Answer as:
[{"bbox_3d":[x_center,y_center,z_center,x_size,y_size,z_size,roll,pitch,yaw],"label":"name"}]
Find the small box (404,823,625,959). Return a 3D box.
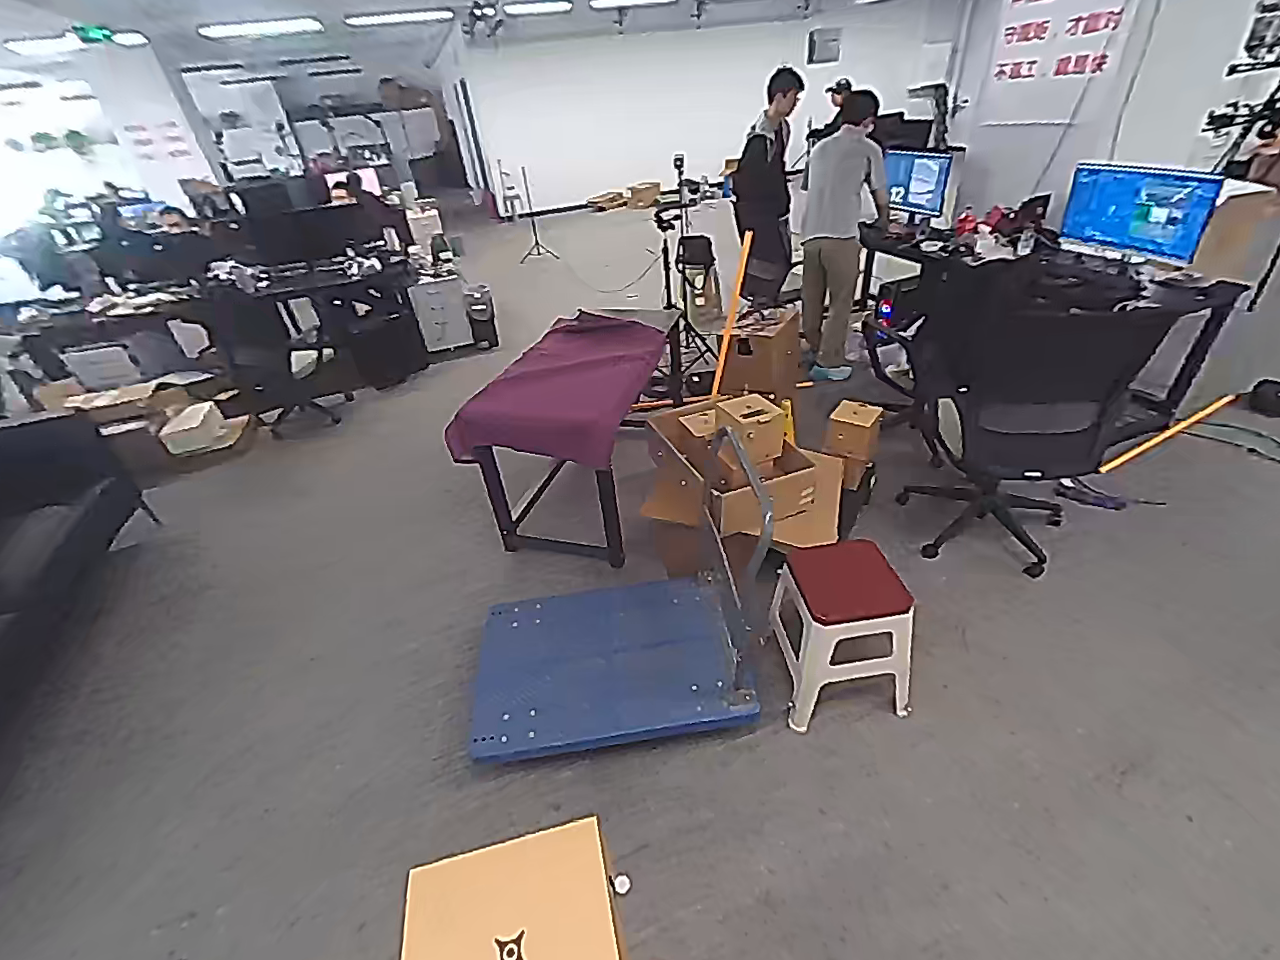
[{"bbox_3d":[-0.097,0.440,0.466,0.168,0.176,0.179,-11,39,-8],"label":"small box"}]
